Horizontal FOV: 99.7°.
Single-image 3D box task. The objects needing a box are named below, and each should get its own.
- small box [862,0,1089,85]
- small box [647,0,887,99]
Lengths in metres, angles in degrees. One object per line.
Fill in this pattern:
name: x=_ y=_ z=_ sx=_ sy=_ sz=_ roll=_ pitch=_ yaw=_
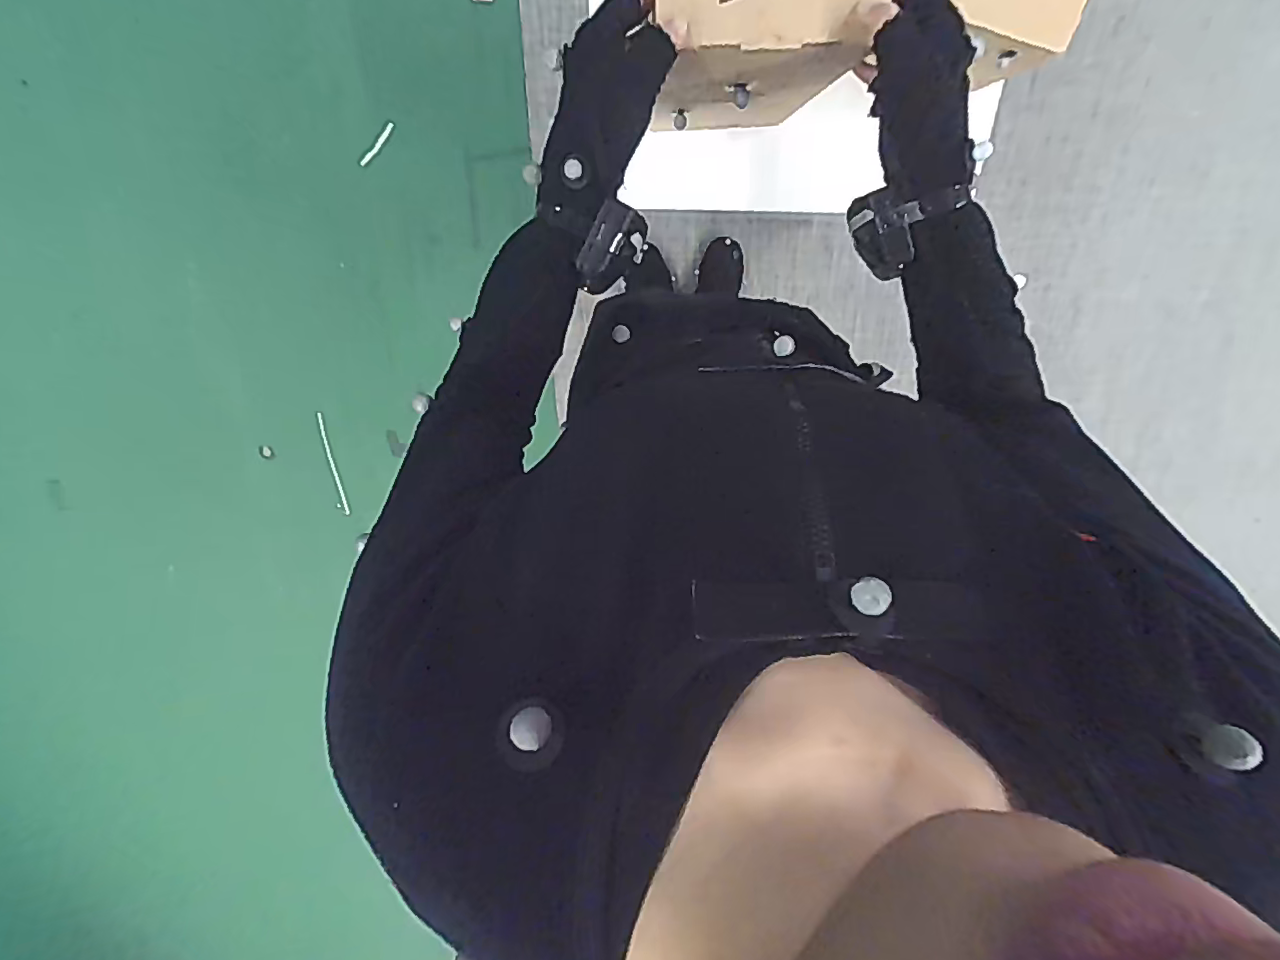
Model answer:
small box: x=0.345 y=-0.536 z=0.552 sx=0.179 sy=0.176 sz=0.168 roll=12 pitch=115 yaw=-5
small box: x=0.089 y=-0.423 z=0.423 sx=0.168 sy=0.176 sz=0.179 roll=-1 pitch=115 yaw=1
